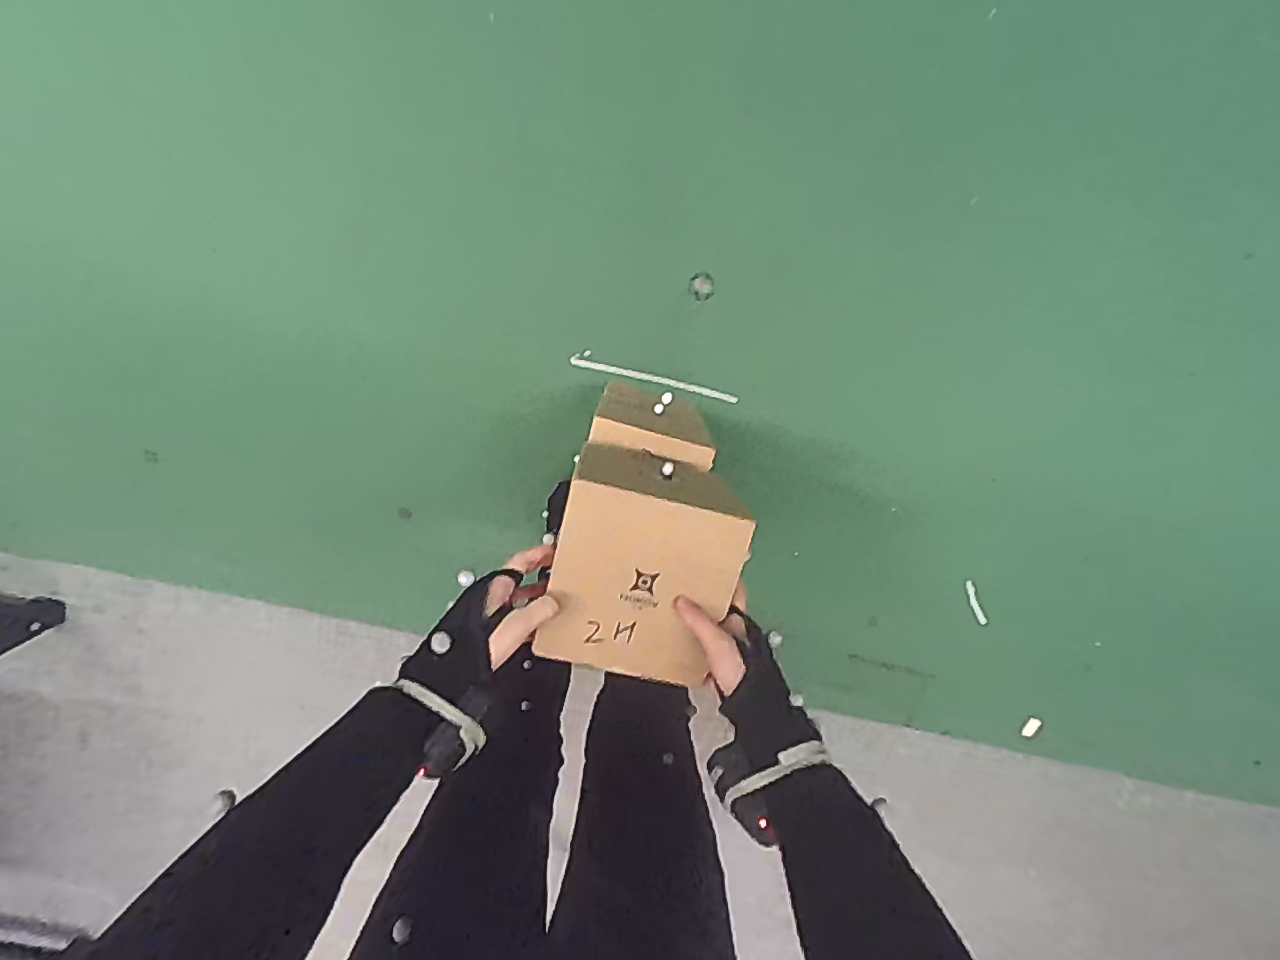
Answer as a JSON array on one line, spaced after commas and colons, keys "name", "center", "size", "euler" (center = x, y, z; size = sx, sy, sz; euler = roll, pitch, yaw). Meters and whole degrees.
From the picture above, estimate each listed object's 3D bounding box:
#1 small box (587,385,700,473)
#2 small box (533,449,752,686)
[{"name": "small box", "center": [-0.006, -0.057, 0.953], "size": [0.168, 0.176, 0.179], "euler": [15, 108, -5]}, {"name": "small box", "center": [-0.004, 0.078, 0.568], "size": [0.168, 0.176, 0.179], "euler": [14, 104, -6]}]
